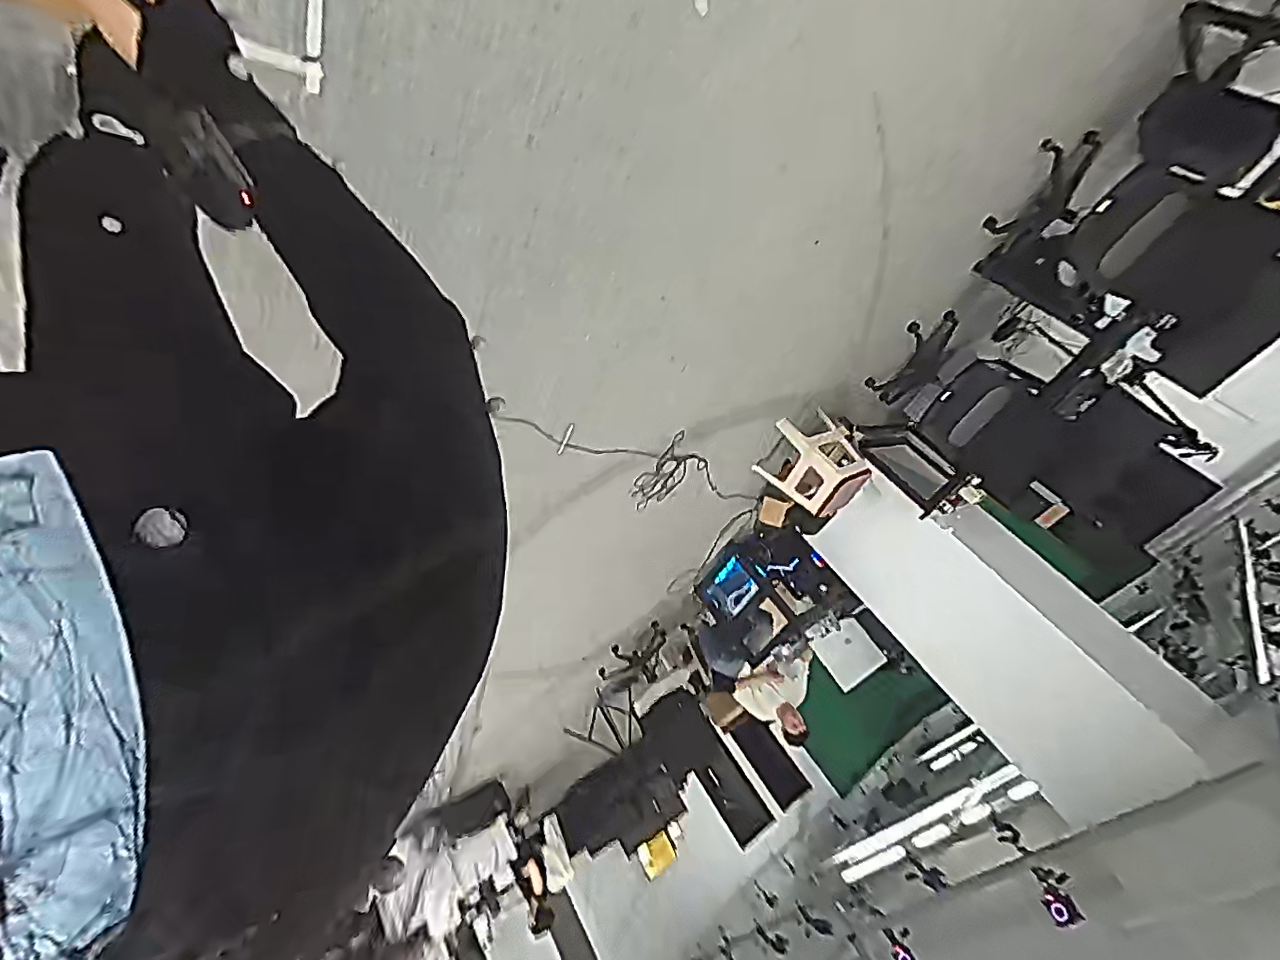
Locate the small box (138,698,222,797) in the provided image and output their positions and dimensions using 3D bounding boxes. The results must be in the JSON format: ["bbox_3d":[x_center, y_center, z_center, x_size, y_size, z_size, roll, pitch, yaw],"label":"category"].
[{"bbox_3d":[-1.326,0.765,1.560,0.168,0.176,0.179,-6,137,-46],"label":"small box"}]
